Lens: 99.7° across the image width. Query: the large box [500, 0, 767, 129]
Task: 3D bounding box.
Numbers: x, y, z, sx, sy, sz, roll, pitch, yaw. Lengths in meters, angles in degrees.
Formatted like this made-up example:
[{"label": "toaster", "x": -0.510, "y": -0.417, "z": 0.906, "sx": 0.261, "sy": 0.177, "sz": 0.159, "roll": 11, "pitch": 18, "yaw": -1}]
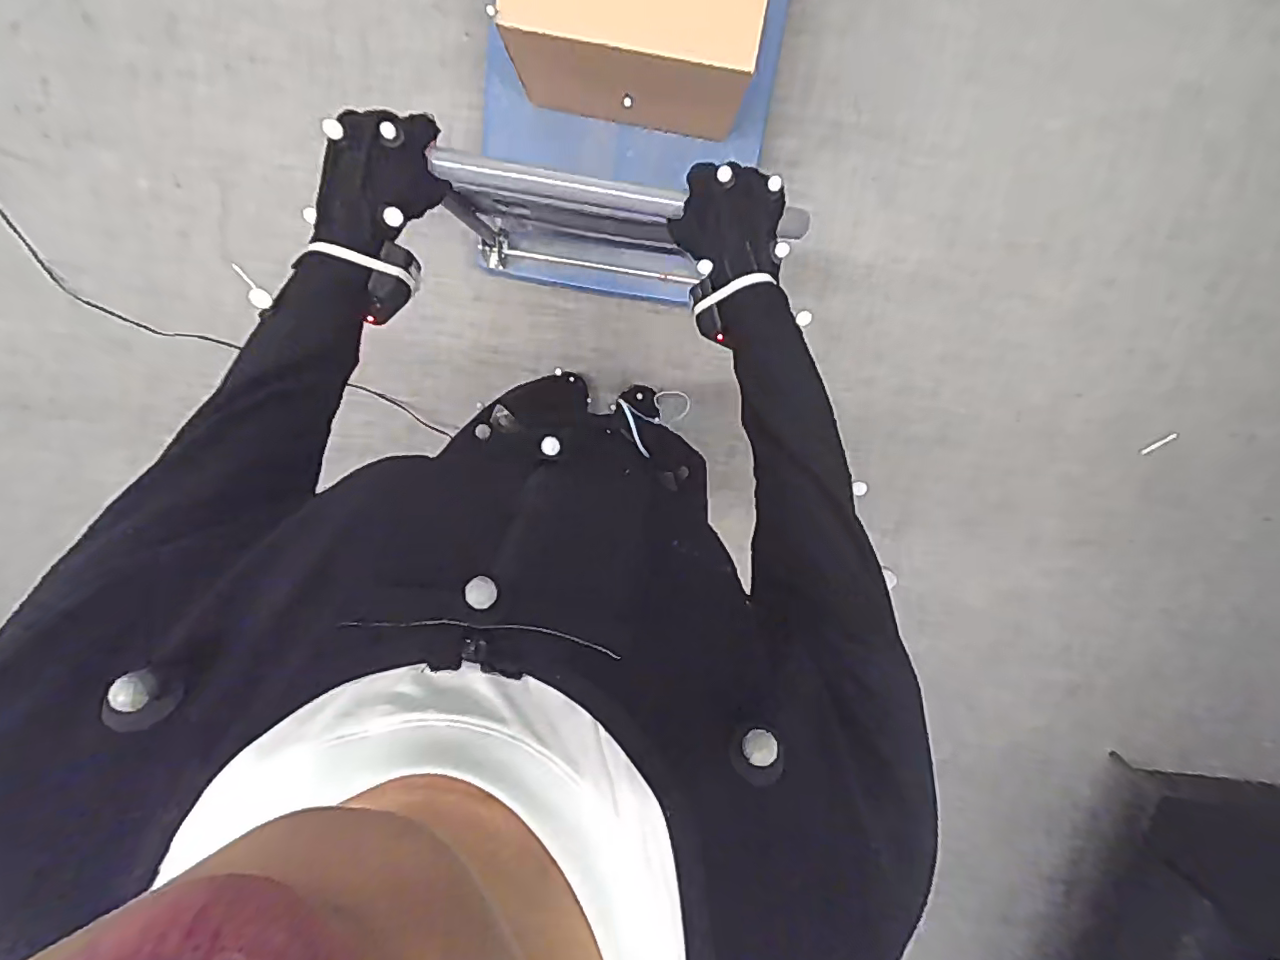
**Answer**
[{"label": "large box", "x": 0.008, "y": -0.855, "z": 0.933, "sx": 0.408, "sy": 0.320, "sz": 0.320, "roll": 9, "pitch": 104, "yaw": -2}]
